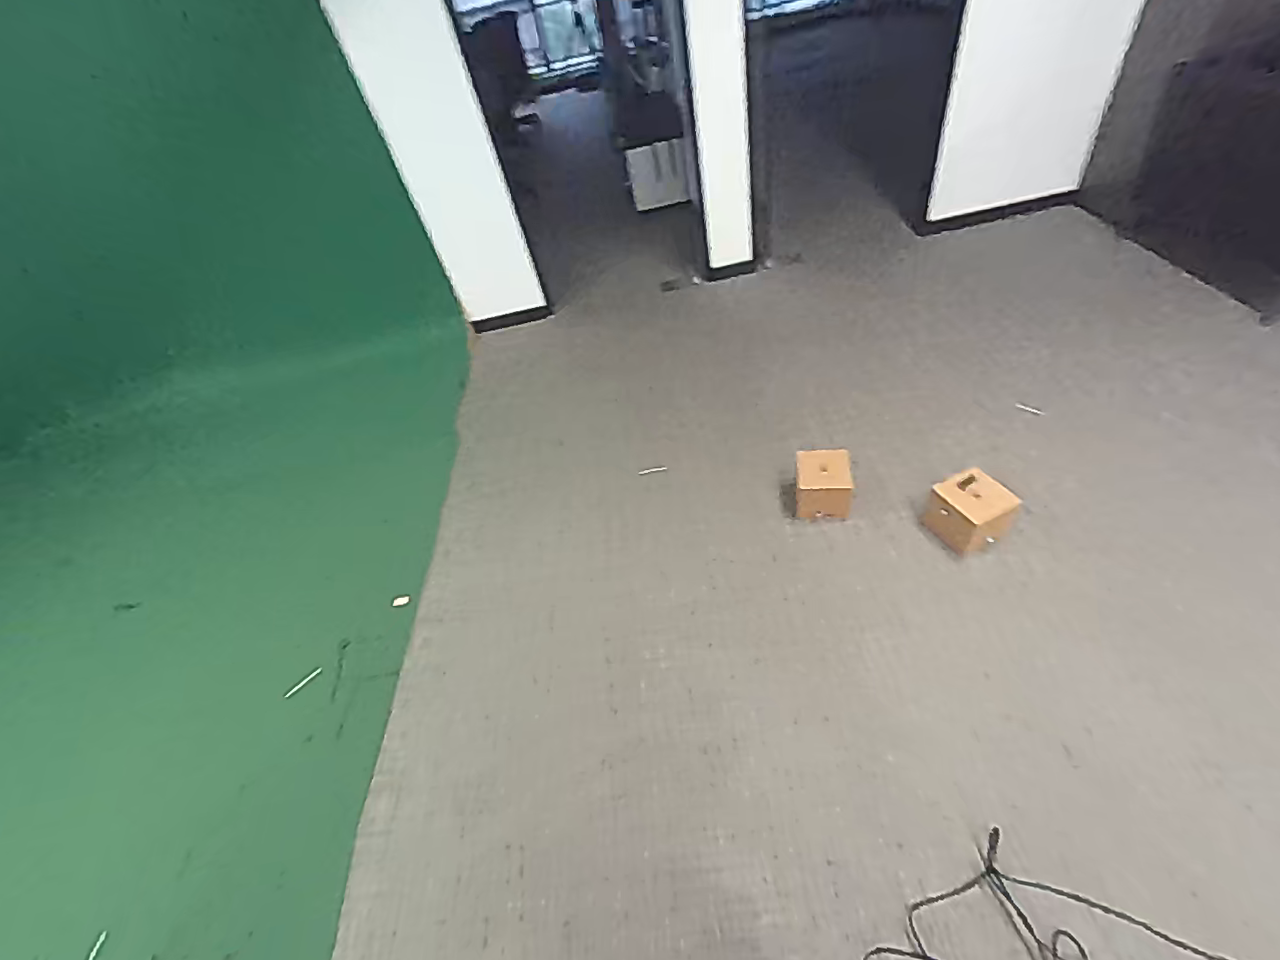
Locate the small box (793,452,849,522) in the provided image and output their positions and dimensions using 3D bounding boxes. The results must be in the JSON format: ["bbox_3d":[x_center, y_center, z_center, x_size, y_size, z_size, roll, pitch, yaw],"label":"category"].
[{"bbox_3d":[0.609,0.024,1.836,0.168,0.176,0.179,-2,46,14],"label":"small box"}]

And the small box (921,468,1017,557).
[{"bbox_3d":[0.997,0.101,1.659,0.168,0.176,0.179,-24,46,-8],"label":"small box"}]
